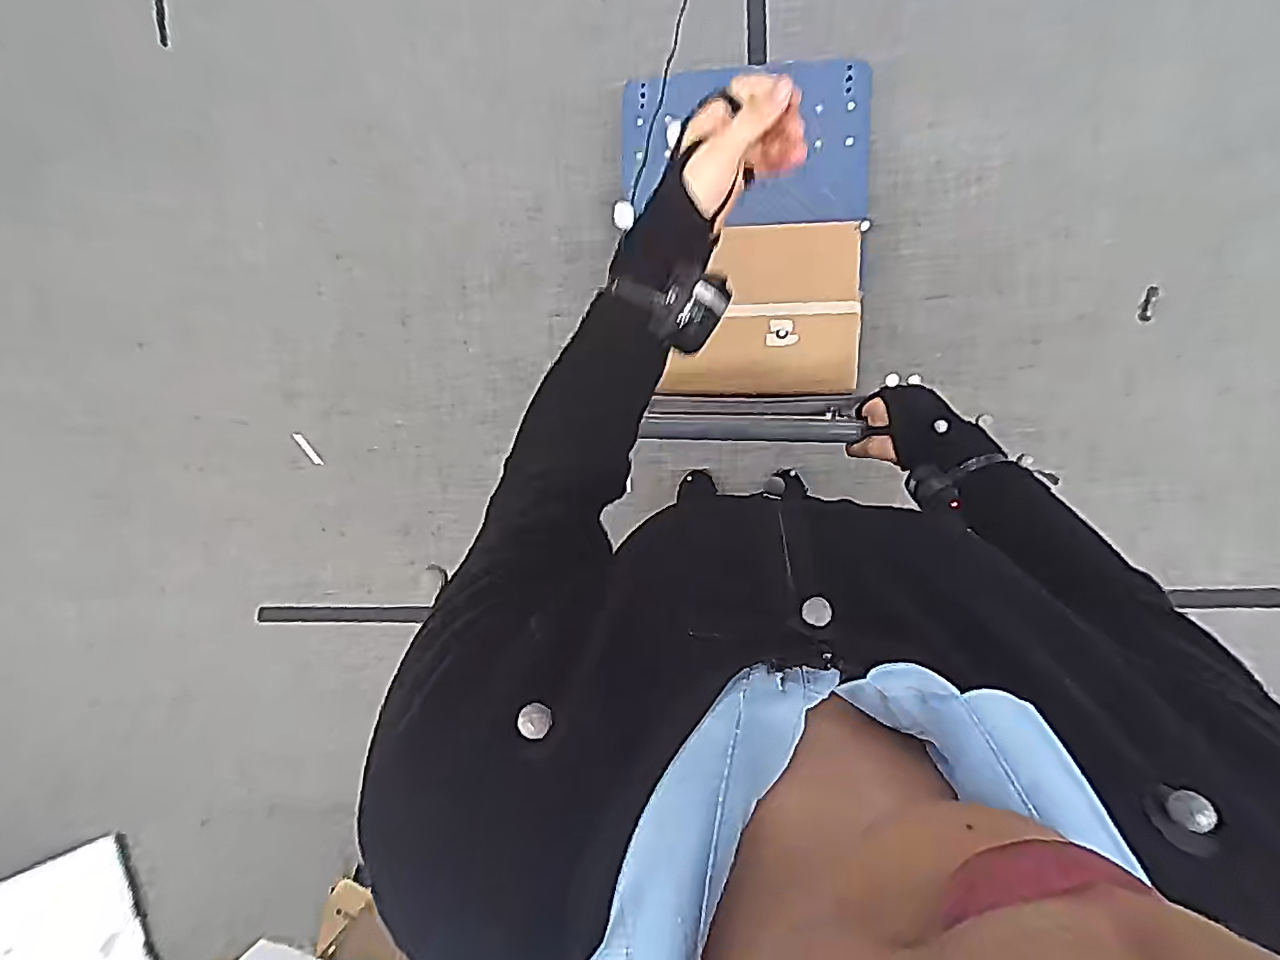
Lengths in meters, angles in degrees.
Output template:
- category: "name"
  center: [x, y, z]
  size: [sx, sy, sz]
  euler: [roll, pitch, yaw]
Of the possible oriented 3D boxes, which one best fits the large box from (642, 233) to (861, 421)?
- category: "large box"
  center: [0.219, -0.295, 1.147]
  size: [0.408, 0.320, 0.320]
  euler: [1, 92, 8]
